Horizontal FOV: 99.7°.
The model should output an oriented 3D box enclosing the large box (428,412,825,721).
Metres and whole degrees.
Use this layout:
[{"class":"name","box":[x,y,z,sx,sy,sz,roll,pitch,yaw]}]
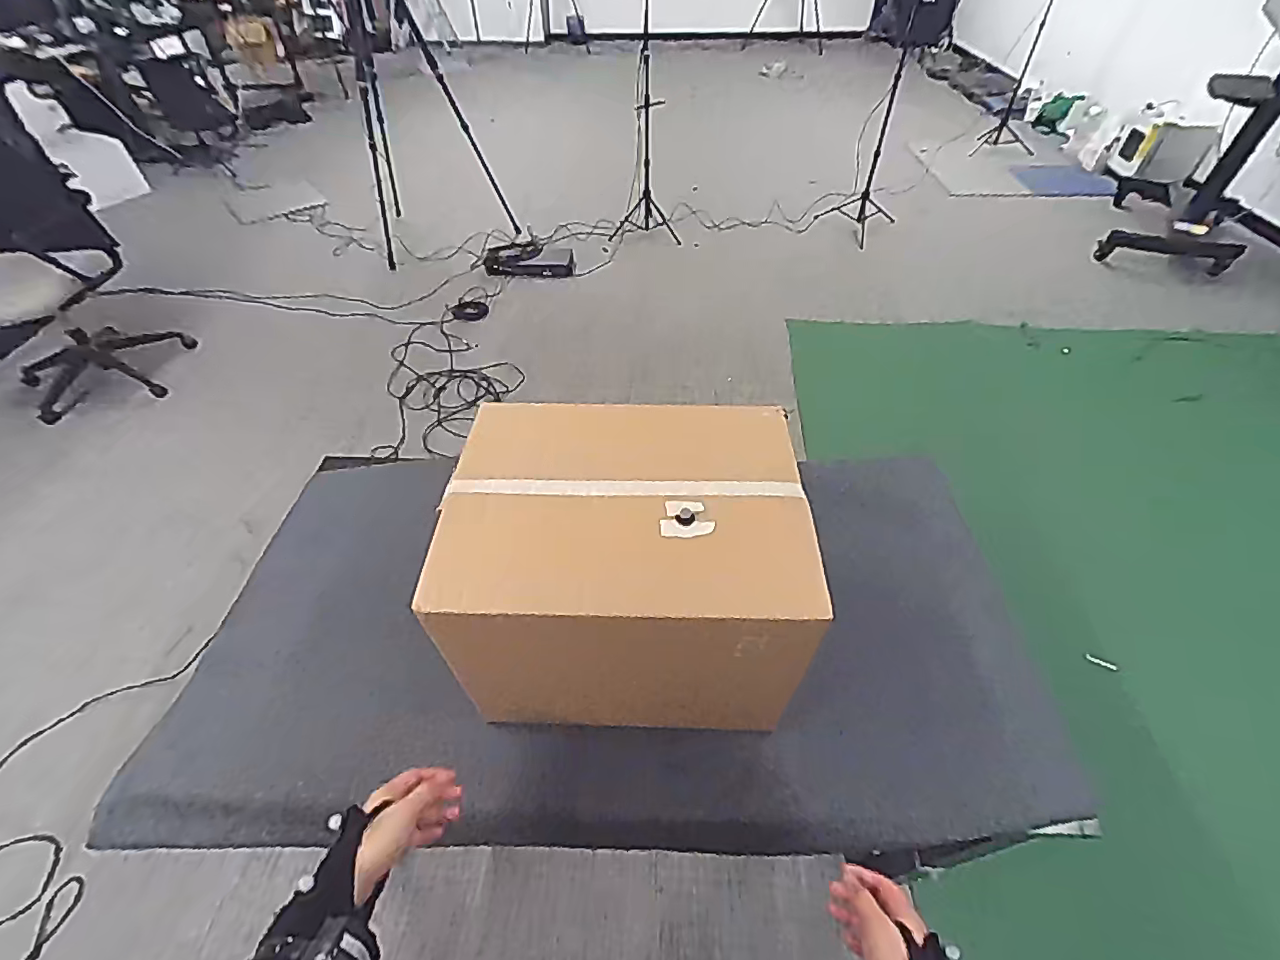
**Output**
[{"class":"large box","box":[-0.014,0.121,0.741,0.408,0.320,0.320,1,48,1]}]
